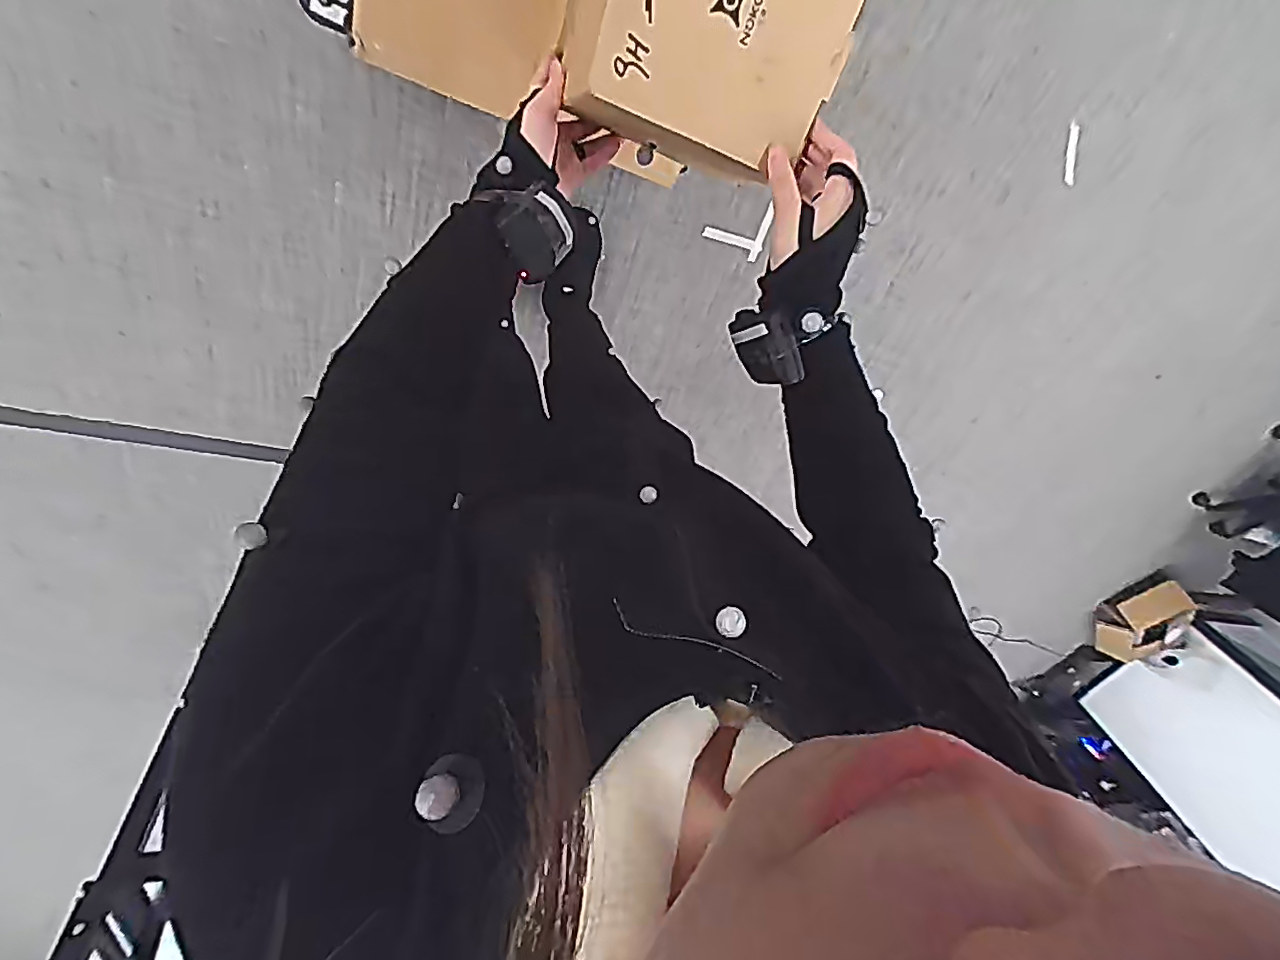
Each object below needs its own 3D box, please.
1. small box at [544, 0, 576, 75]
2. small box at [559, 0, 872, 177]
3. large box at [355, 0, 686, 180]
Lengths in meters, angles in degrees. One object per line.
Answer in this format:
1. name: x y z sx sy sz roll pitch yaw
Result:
1. small box: 0.012 -0.471 0.545 0.179 0.176 0.168 12 124 -22
2. small box: 0.051 -0.359 0.419 0.179 0.176 0.168 10 116 -23
3. large box: -0.105 -0.645 0.696 0.408 0.320 0.320 11 124 -21
